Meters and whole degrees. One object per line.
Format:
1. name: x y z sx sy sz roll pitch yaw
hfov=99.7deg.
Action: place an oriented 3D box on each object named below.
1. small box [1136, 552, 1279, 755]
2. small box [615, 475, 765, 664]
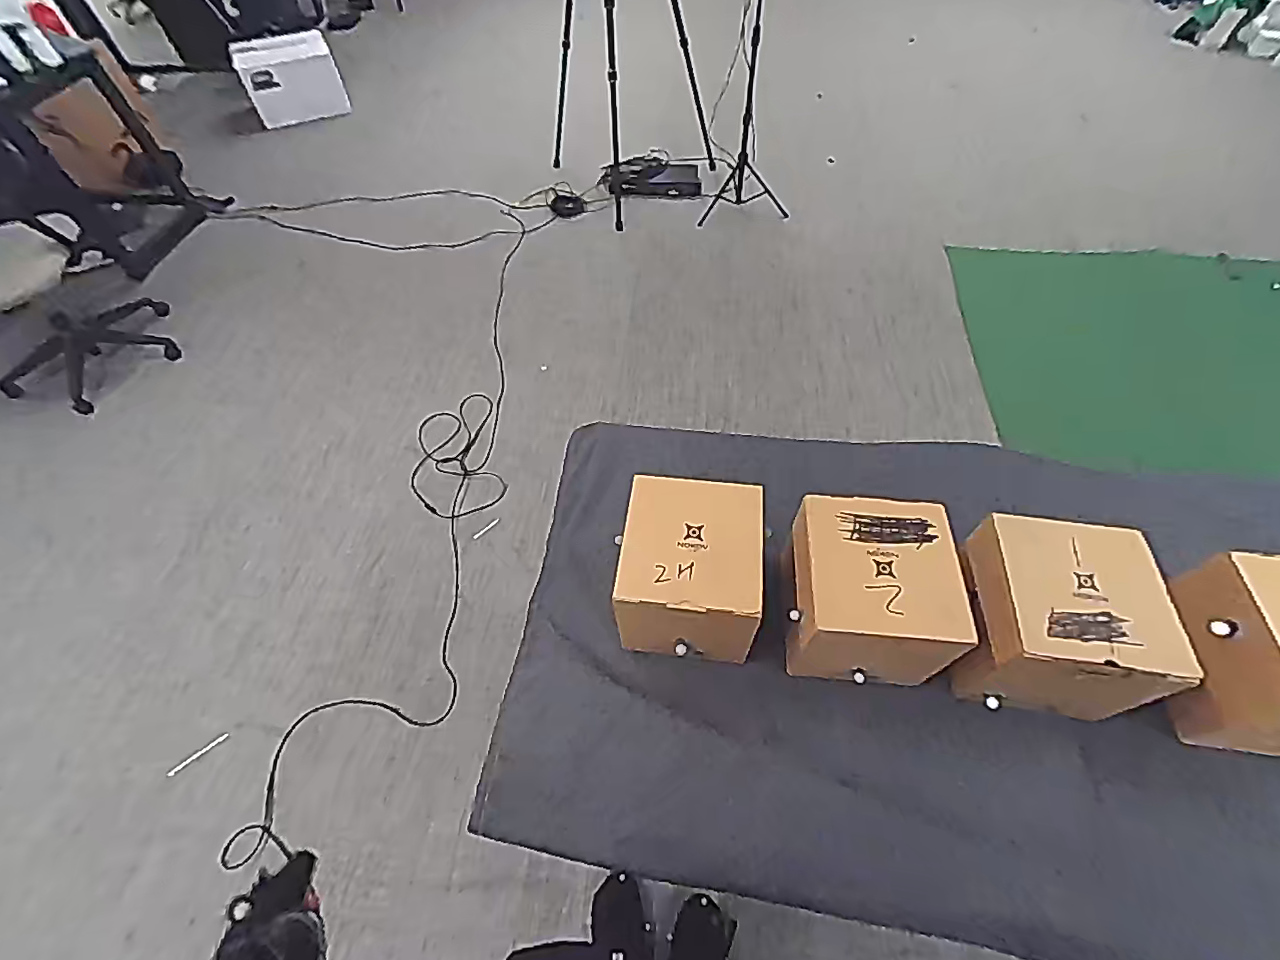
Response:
1. small box: 0.726 0.204 0.607 0.168 0.176 0.179 5 54 7
2. small box: 0.066 0.117 0.700 0.168 0.176 0.179 5 55 7
